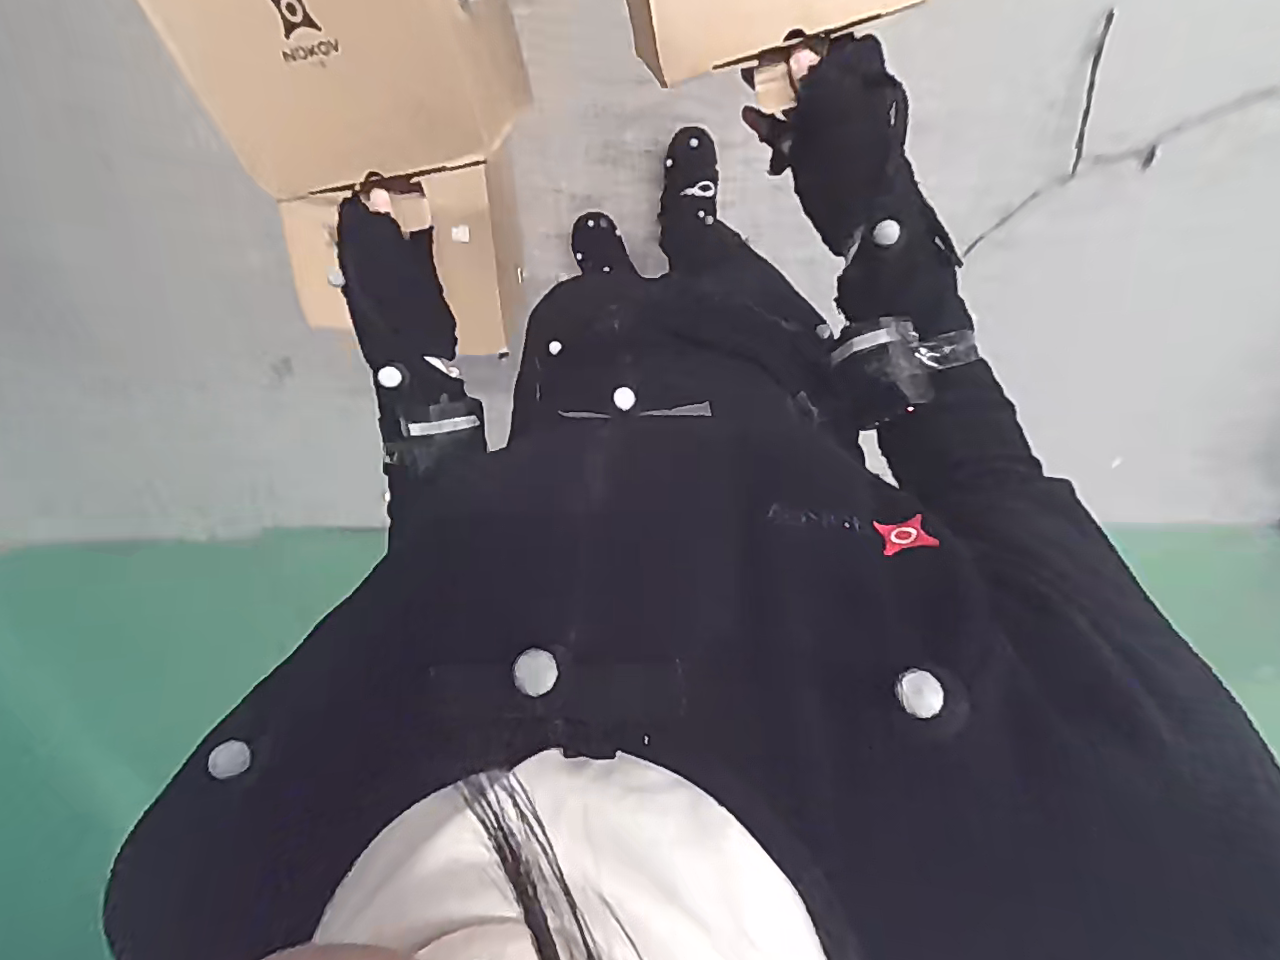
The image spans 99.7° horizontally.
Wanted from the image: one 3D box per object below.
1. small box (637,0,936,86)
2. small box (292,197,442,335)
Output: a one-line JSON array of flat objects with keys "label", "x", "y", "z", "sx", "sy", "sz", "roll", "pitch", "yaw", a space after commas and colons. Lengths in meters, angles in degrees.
[{"label": "small box", "x": 0.074, "y": -0.381, "z": 0.331, "sx": 0.168, "sy": 0.176, "sz": 0.179, "roll": -15, "pitch": 134, "yaw": 4}, {"label": "small box", "x": -0.421, "y": -0.346, "z": 0.865, "sx": 0.168, "sy": 0.176, "sz": 0.179, "roll": 2, "pitch": 120, "yaw": -9}]
